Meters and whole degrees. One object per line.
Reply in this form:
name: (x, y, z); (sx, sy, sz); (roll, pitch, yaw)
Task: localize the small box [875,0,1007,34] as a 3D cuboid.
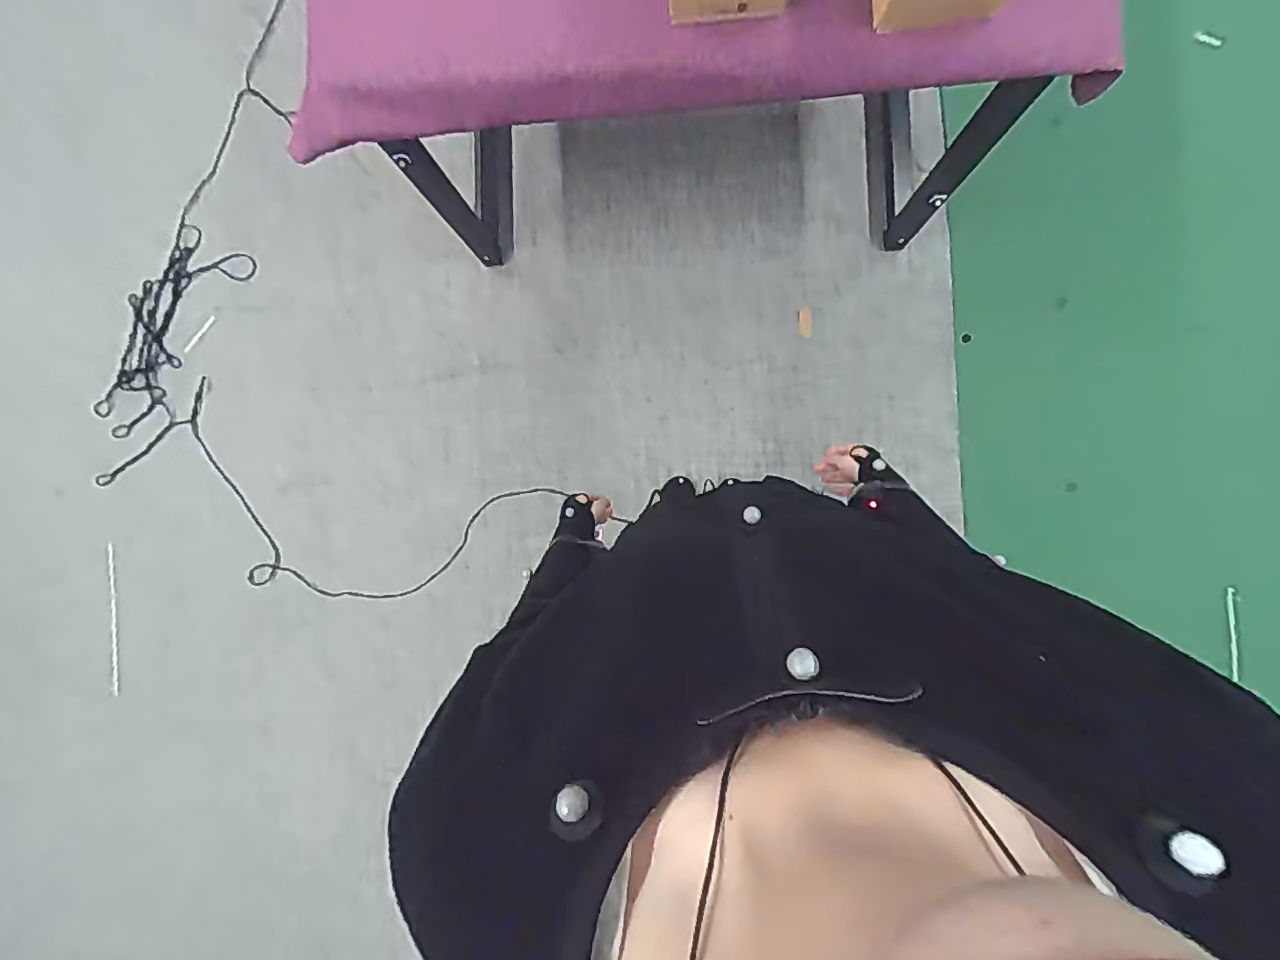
small box: (0.424, -0.738, 0.708); (0.179, 0.176, 0.168); (-3, 89, 6)

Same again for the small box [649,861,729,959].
small box: (0.124, 1.097, 1.362); (0.179, 0.176, 0.168); (-8, 86, 6)

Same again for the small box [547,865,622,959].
small box: (-0.144, 1.127, 1.385); (0.179, 0.176, 0.168); (-10, 86, 4)

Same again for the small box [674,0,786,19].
small box: (0.127, -0.773, 0.734); (0.168, 0.176, 0.179); (0, 87, 5)

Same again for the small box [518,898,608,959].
small box: (-0.167, 1.097, 1.224); (0.168, 0.176, 0.179); (-5, 88, 4)
